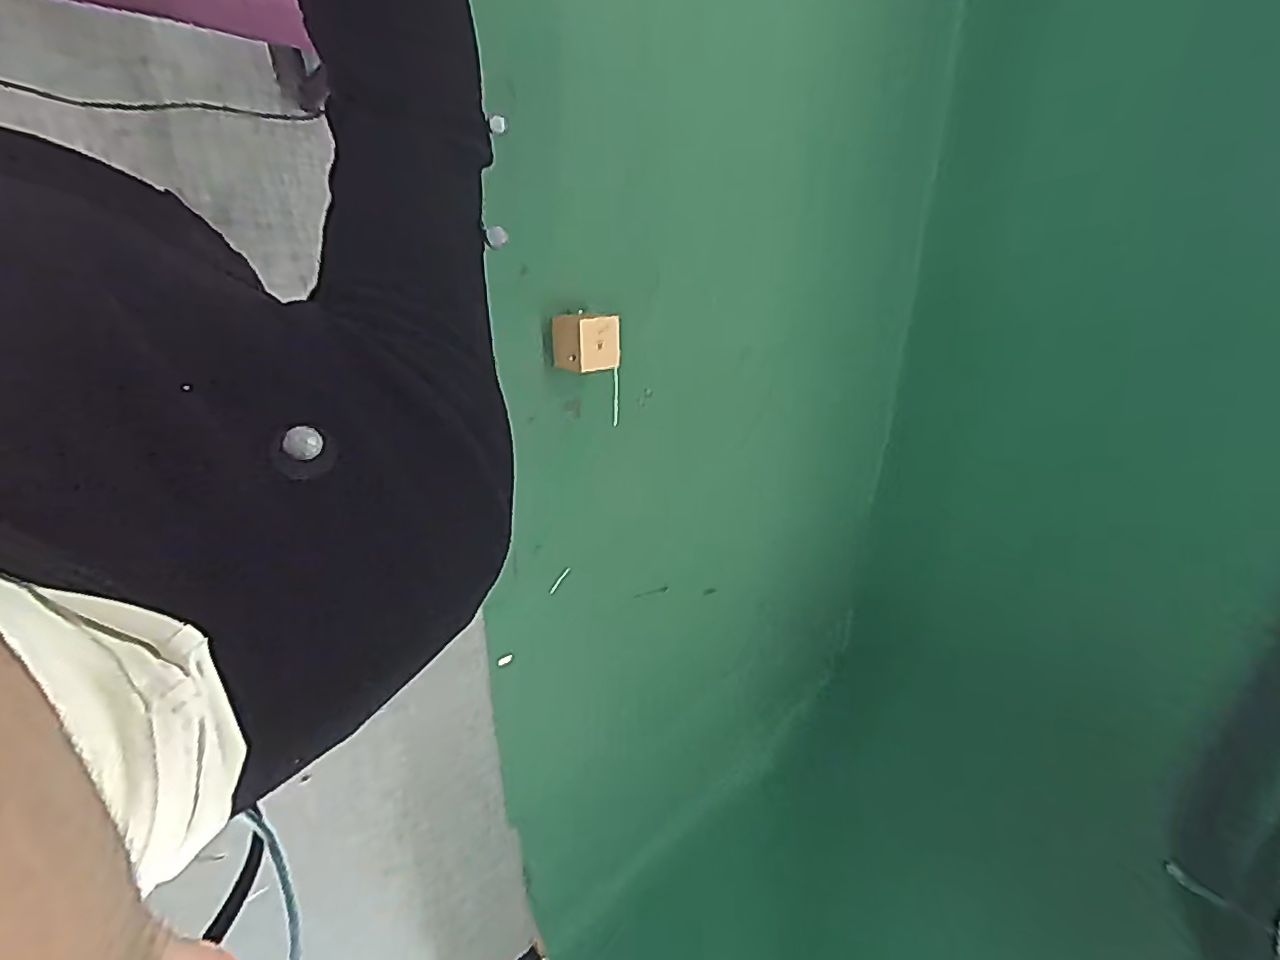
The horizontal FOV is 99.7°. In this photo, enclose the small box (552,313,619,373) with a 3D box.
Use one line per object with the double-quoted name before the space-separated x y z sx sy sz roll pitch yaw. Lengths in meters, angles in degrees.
"small box" -0.189 -0.479 1.870 0.168 0.176 0.179 -18 118 -38
